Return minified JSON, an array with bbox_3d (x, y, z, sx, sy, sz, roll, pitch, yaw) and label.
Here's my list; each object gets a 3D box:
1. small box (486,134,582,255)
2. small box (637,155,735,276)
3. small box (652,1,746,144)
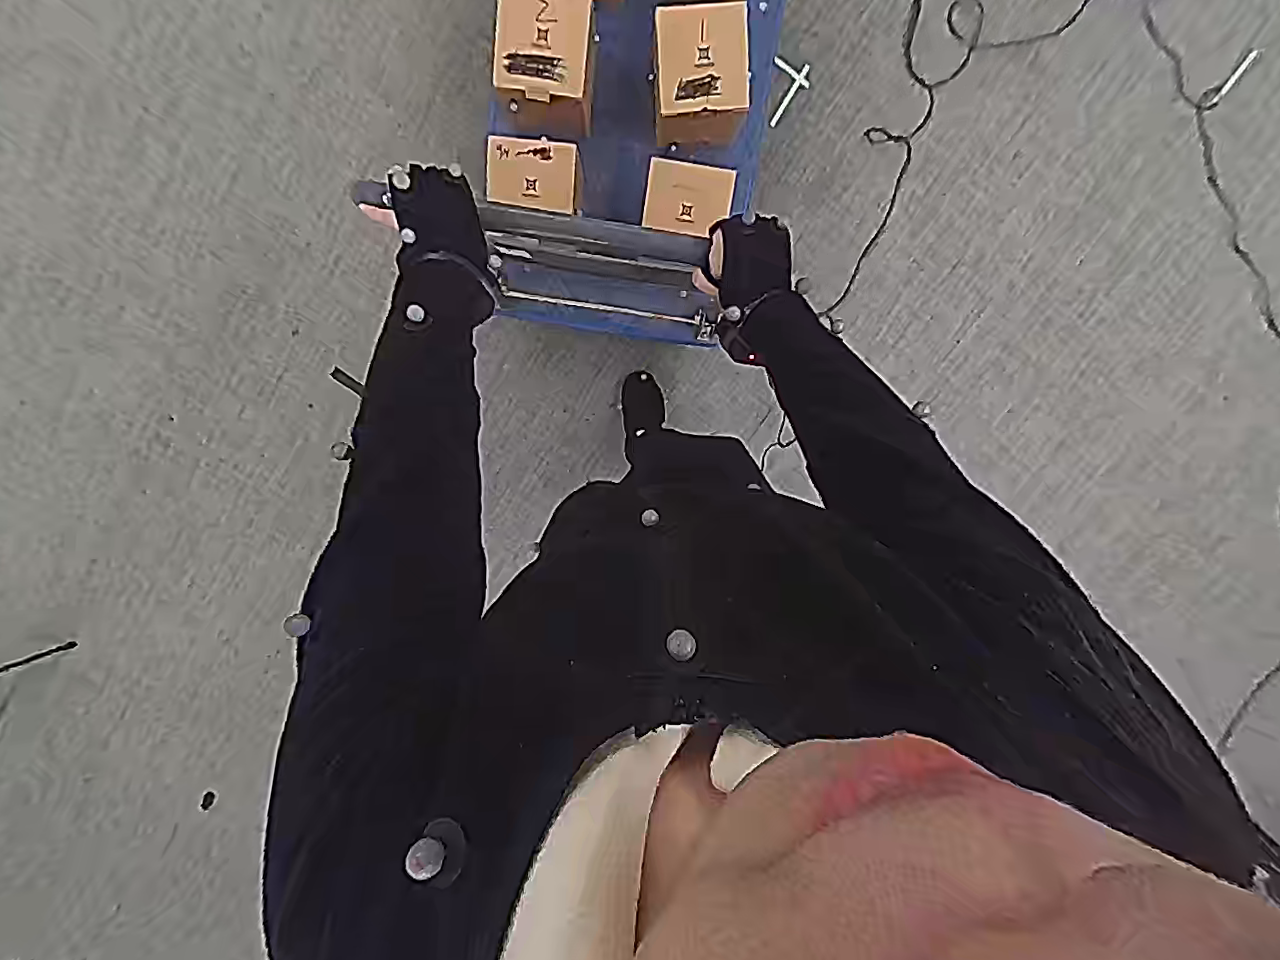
[{"bbox_3d":[-0.209,-0.567,1.098,0.168,0.176,0.179,4,102,-3],"label":"small box"},{"bbox_3d":[0.087,-0.531,1.114,0.168,0.176,0.179,8,101,-3],"label":"small box"},{"bbox_3d":[0.111,-0.783,1.060,0.168,0.176,0.179,-4,101,0],"label":"small box"}]
